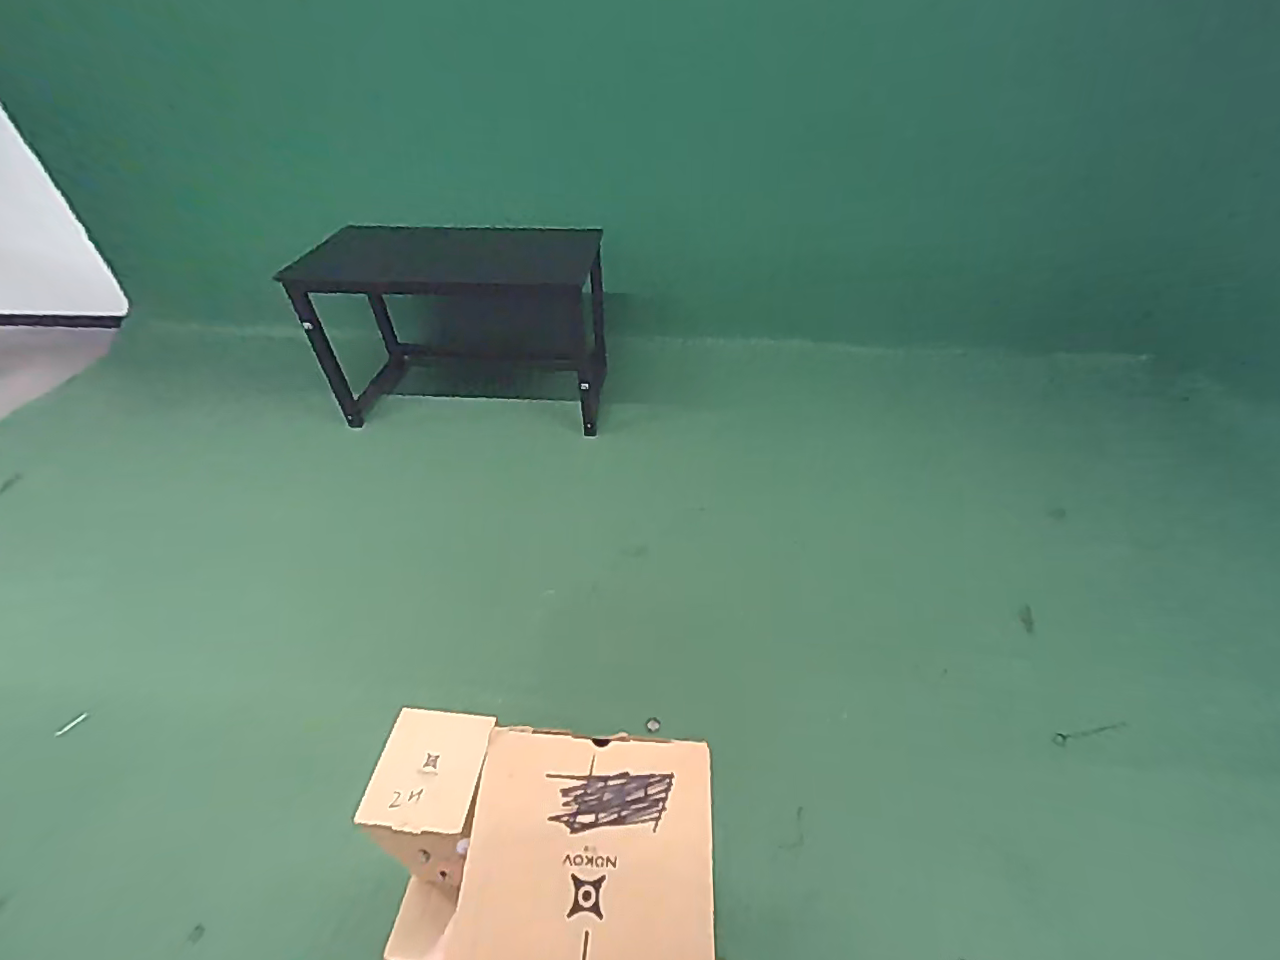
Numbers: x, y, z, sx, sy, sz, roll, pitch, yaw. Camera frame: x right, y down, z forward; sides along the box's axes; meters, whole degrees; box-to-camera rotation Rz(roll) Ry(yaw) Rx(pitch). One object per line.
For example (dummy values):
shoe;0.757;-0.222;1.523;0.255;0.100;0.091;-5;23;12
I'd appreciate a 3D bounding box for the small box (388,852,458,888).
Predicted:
small box;-0.328;0.627;0.997;0.168;0.176;0.179;5;42;6

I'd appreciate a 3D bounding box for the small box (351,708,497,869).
small box;-0.328;0.505;0.886;0.168;0.176;0.179;3;42;5

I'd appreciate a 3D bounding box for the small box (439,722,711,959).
small box;-0.044;0.300;0.411;0.168;0.176;0.179;6;56;-3
